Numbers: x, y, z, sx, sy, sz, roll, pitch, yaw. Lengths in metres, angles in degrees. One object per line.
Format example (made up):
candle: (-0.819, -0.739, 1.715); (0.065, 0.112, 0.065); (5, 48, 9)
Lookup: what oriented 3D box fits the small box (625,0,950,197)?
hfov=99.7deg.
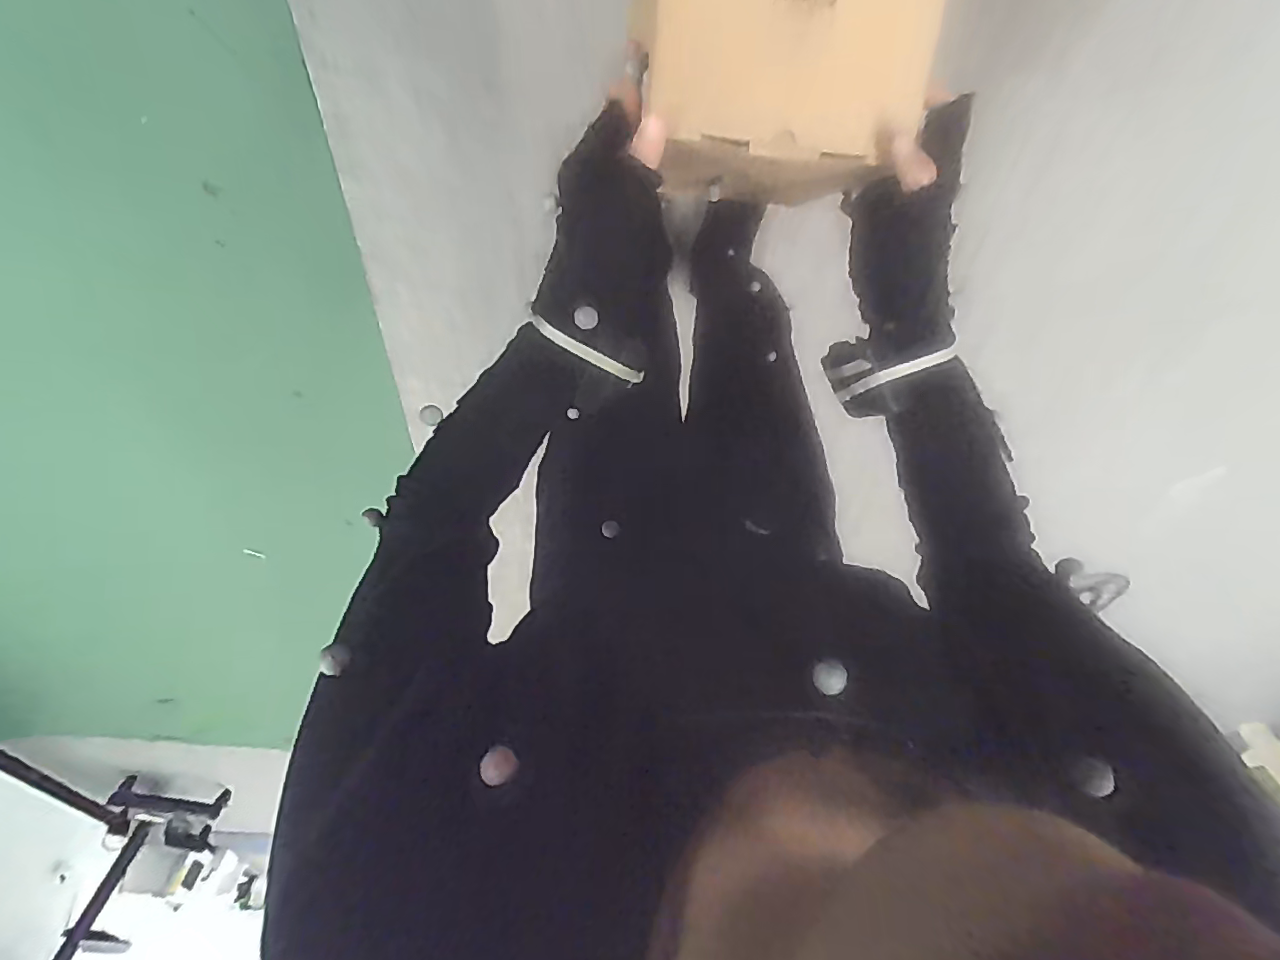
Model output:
small box: (0.083, -0.309, 0.363); (0.168, 0.176, 0.179); (2, 108, -8)
